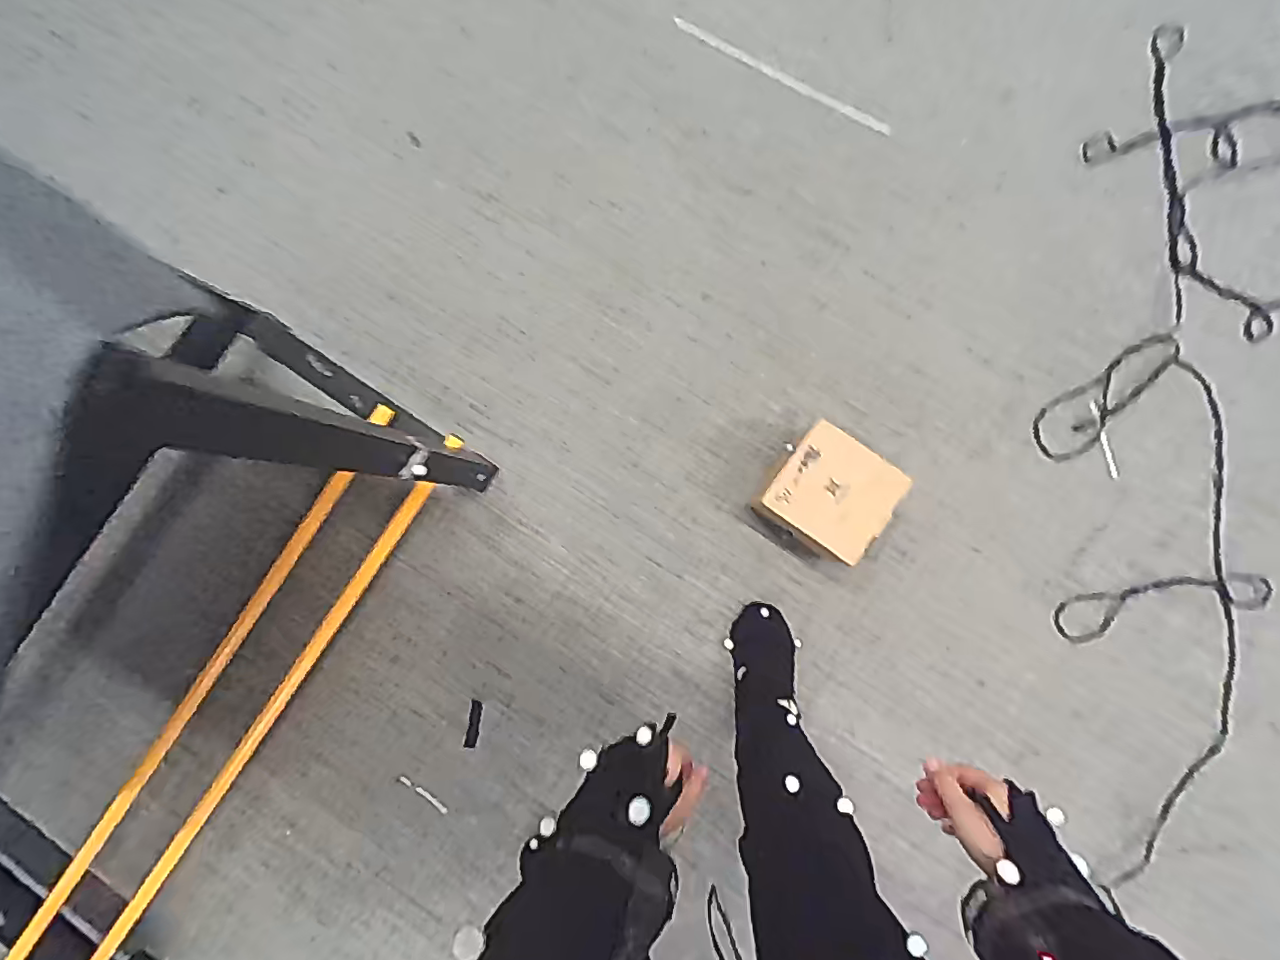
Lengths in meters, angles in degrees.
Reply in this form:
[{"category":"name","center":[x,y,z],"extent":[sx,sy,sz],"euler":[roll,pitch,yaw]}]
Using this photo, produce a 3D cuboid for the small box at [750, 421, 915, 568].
[{"category":"small box","center":[0.312,0.025,0.915],"extent":[0.179,0.176,0.168],"euler":[37,88,4]}]
